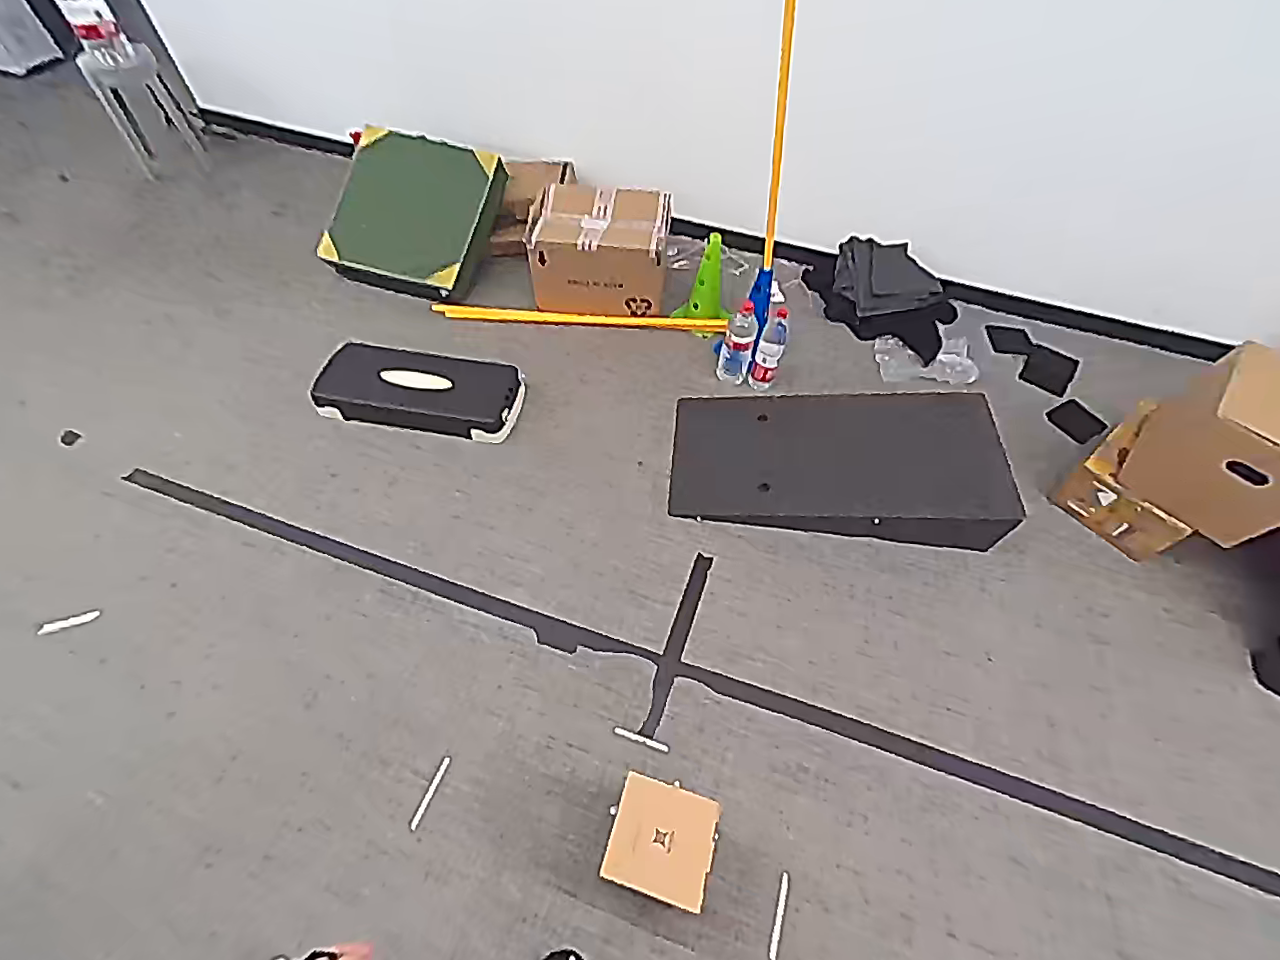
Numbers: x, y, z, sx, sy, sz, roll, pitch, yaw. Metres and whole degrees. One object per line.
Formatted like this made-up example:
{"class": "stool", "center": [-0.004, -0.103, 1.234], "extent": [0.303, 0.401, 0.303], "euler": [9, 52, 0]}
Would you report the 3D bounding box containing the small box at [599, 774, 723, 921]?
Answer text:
{"class": "small box", "center": [0.036, 0.659, 0.982], "extent": [0.179, 0.176, 0.168], "euler": [16, 56, 9]}
